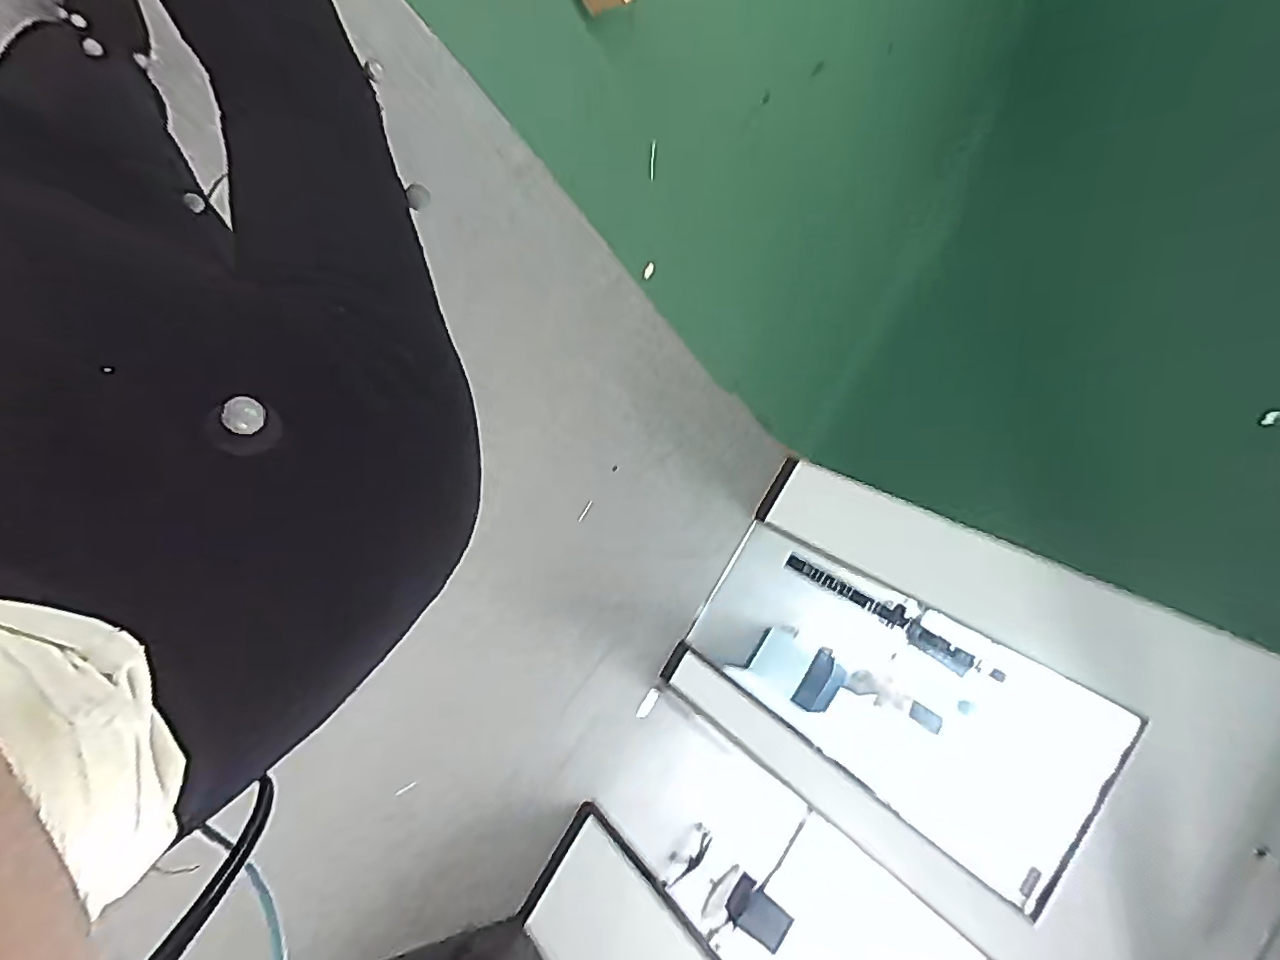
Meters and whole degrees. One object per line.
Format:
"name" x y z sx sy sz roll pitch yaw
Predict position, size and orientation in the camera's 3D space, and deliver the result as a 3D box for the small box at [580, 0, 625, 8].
"small box" -0.093 -1.448 1.479 0.179 0.176 0.168 -56 142 -4
